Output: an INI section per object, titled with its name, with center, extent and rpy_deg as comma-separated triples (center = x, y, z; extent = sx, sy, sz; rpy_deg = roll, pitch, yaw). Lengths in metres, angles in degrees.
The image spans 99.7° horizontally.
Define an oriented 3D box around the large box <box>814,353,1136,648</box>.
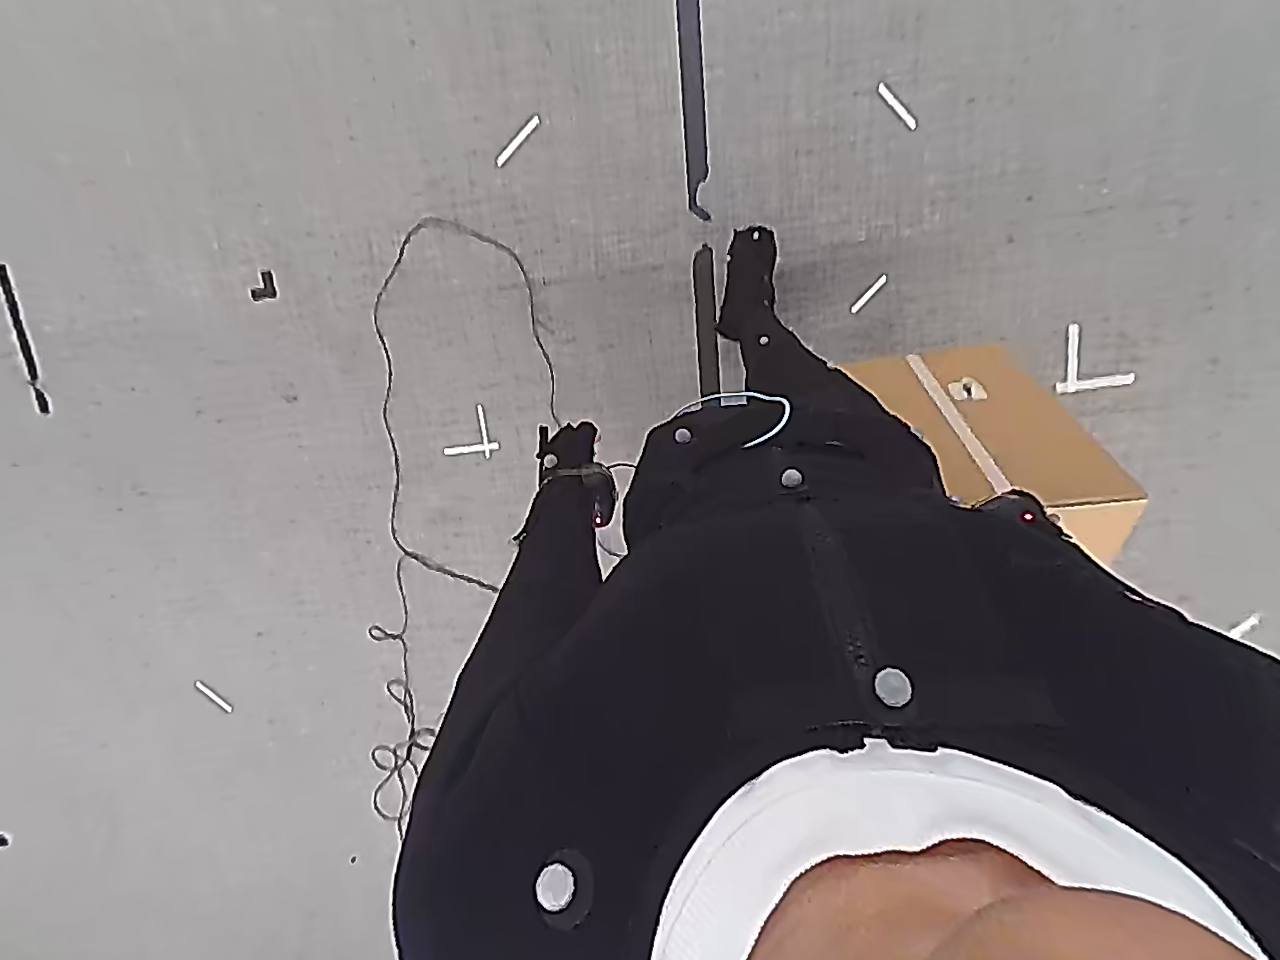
[large box]
center = 0.506, 0.025, 0.940
extent = 0.320, 0.408, 0.320
rpy_deg = -6, 128, 7
